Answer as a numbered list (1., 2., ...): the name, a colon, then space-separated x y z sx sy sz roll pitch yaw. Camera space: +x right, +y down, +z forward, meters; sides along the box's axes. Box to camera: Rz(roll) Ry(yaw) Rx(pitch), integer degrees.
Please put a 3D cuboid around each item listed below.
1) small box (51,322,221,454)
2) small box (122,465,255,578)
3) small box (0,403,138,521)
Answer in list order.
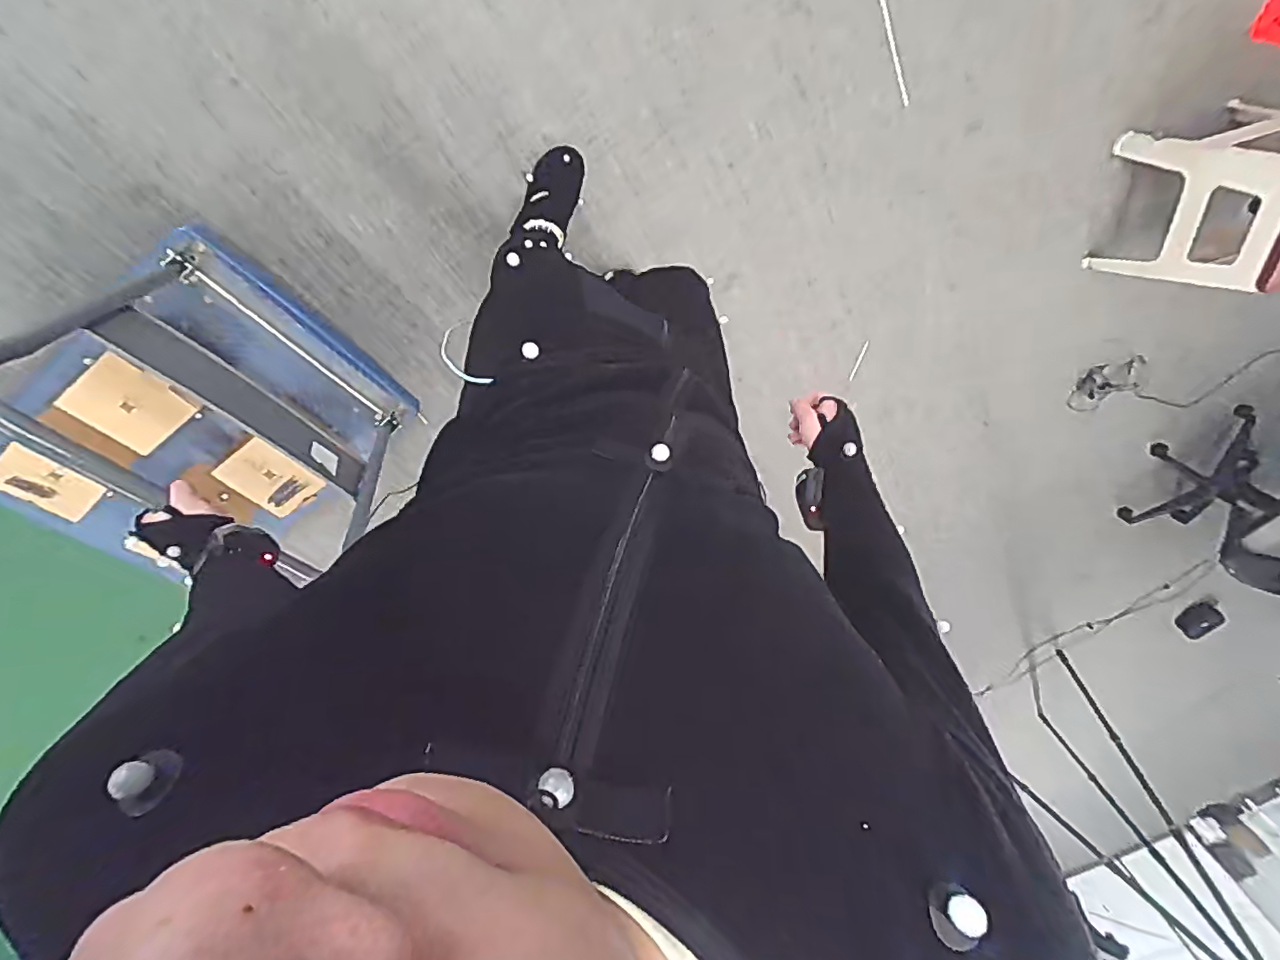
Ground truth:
1. small box: -1.021 -0.193 1.116 0.179 0.176 0.168 -35 126 10
2. small box: -1.074 0.096 1.307 0.179 0.176 0.168 -39 125 13
3. small box: -1.221 -0.052 1.159 0.179 0.176 0.168 -38 127 12
